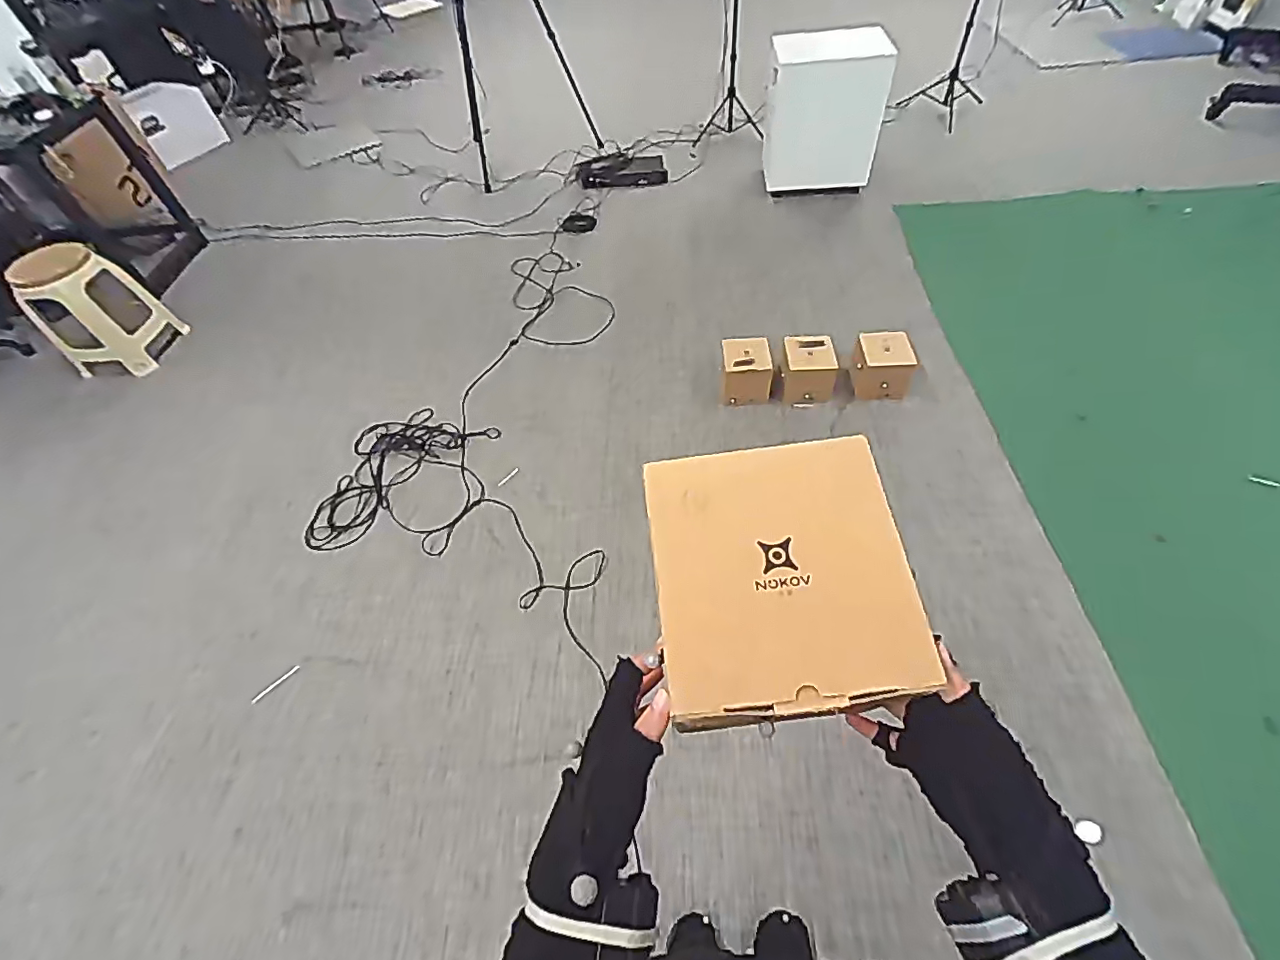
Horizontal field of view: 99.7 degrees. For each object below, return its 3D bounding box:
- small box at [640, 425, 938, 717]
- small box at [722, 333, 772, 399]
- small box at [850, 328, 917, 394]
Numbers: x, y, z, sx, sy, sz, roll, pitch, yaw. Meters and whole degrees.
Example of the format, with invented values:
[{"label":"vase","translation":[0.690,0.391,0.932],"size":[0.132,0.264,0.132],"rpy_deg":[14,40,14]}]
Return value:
[{"label":"small box","translation":[0.092,0.081,0.427],"size":[0.168,0.176,0.179],"rpy_deg":[-8,64,2]},{"label":"small box","translation":[0.389,-0.412,1.983],"size":[0.168,0.176,0.179],"rpy_deg":[-2,52,5]},{"label":"small box","translation":[0.868,-0.422,1.942],"size":[0.168,0.176,0.179],"rpy_deg":[-1,54,5]}]
